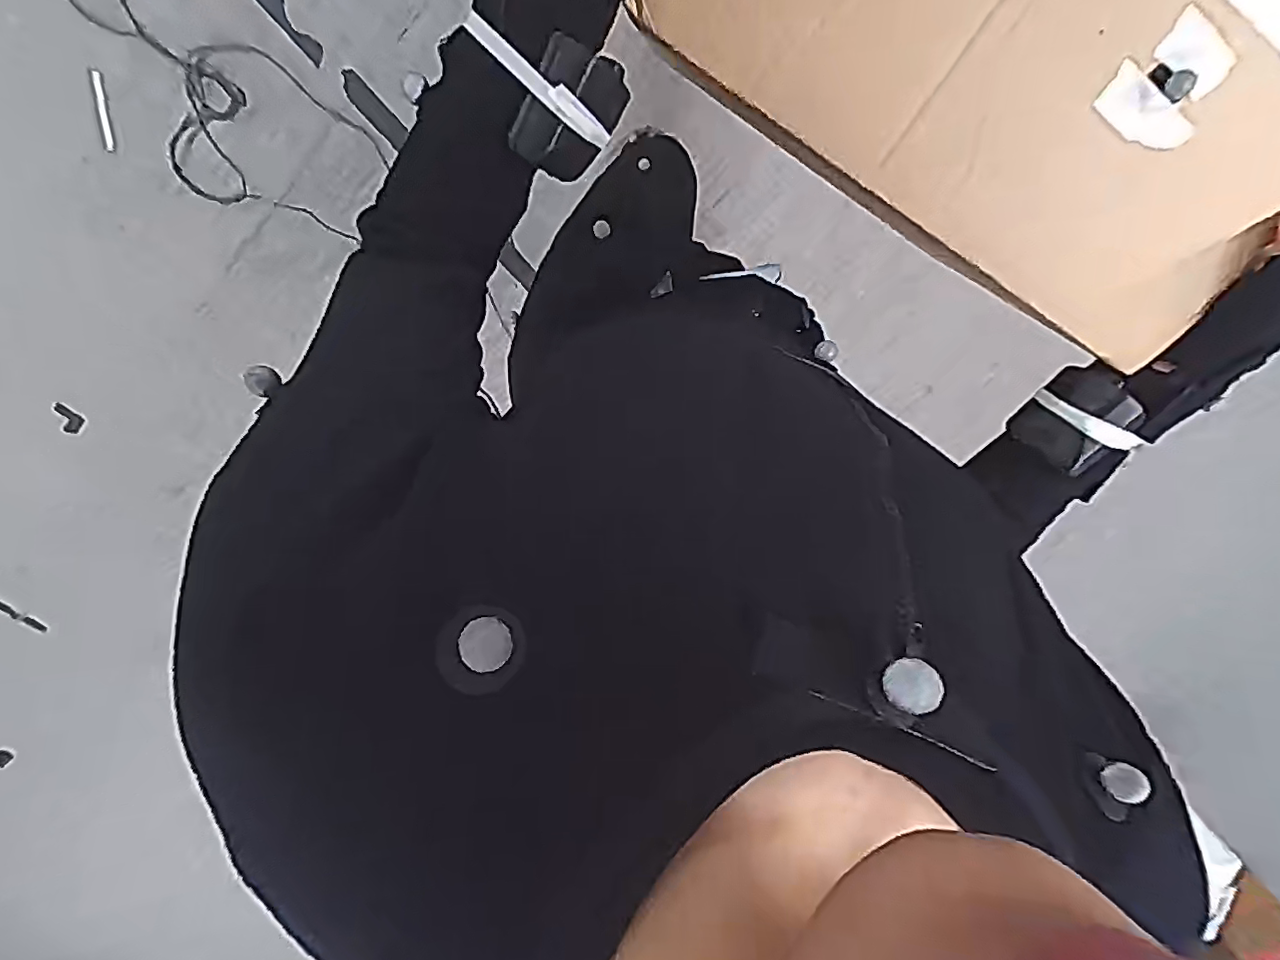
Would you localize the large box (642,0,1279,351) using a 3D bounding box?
[{"bbox_3d":[0.249,-0.364,0.383,0.408,0.320,0.320,26,124,-15],"label":"large box"}]
